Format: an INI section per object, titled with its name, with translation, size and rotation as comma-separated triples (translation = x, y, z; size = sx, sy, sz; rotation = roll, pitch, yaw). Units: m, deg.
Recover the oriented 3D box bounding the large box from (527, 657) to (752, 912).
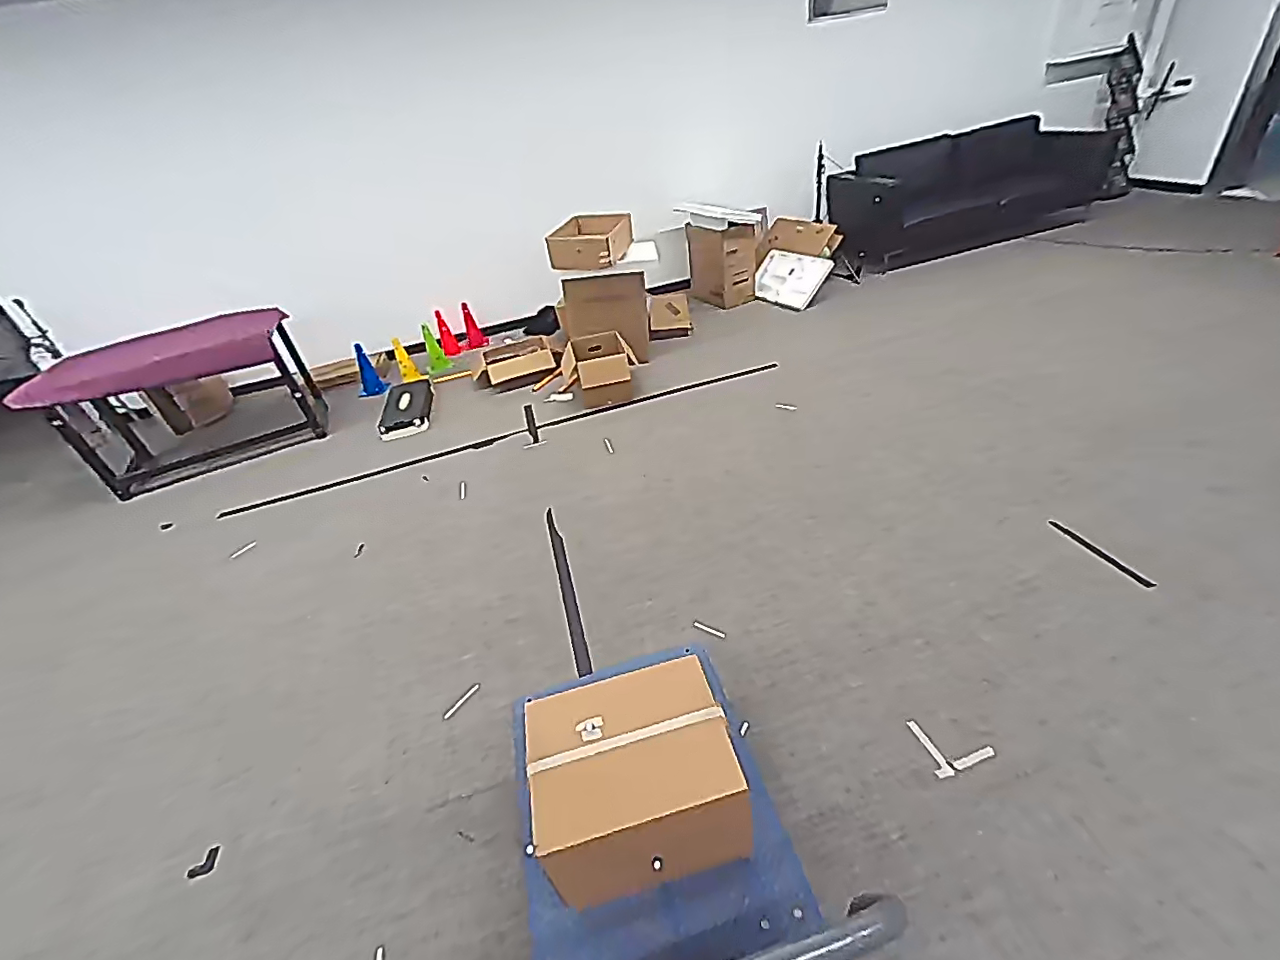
[large box]
translation = -0.003, 0.662, 1.193
size = 0.408, 0.320, 0.320
rotation = -16, 34, -6
